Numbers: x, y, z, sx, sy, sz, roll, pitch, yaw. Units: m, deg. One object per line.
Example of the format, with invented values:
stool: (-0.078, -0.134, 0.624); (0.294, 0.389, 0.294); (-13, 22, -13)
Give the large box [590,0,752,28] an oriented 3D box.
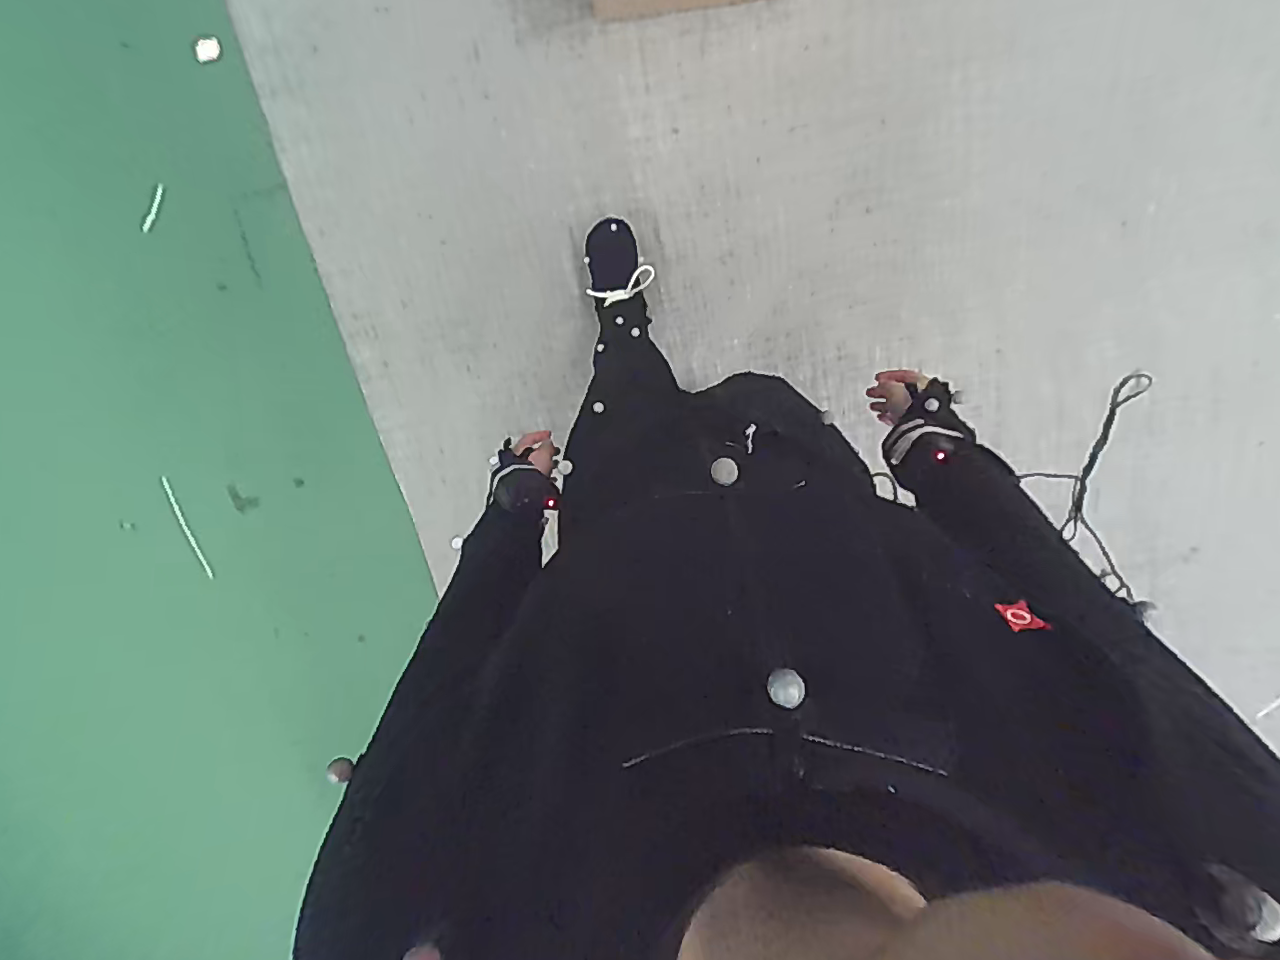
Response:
large box: (0.081, -1.022, 0.882); (0.408, 0.320, 0.320); (-6, 108, 4)
